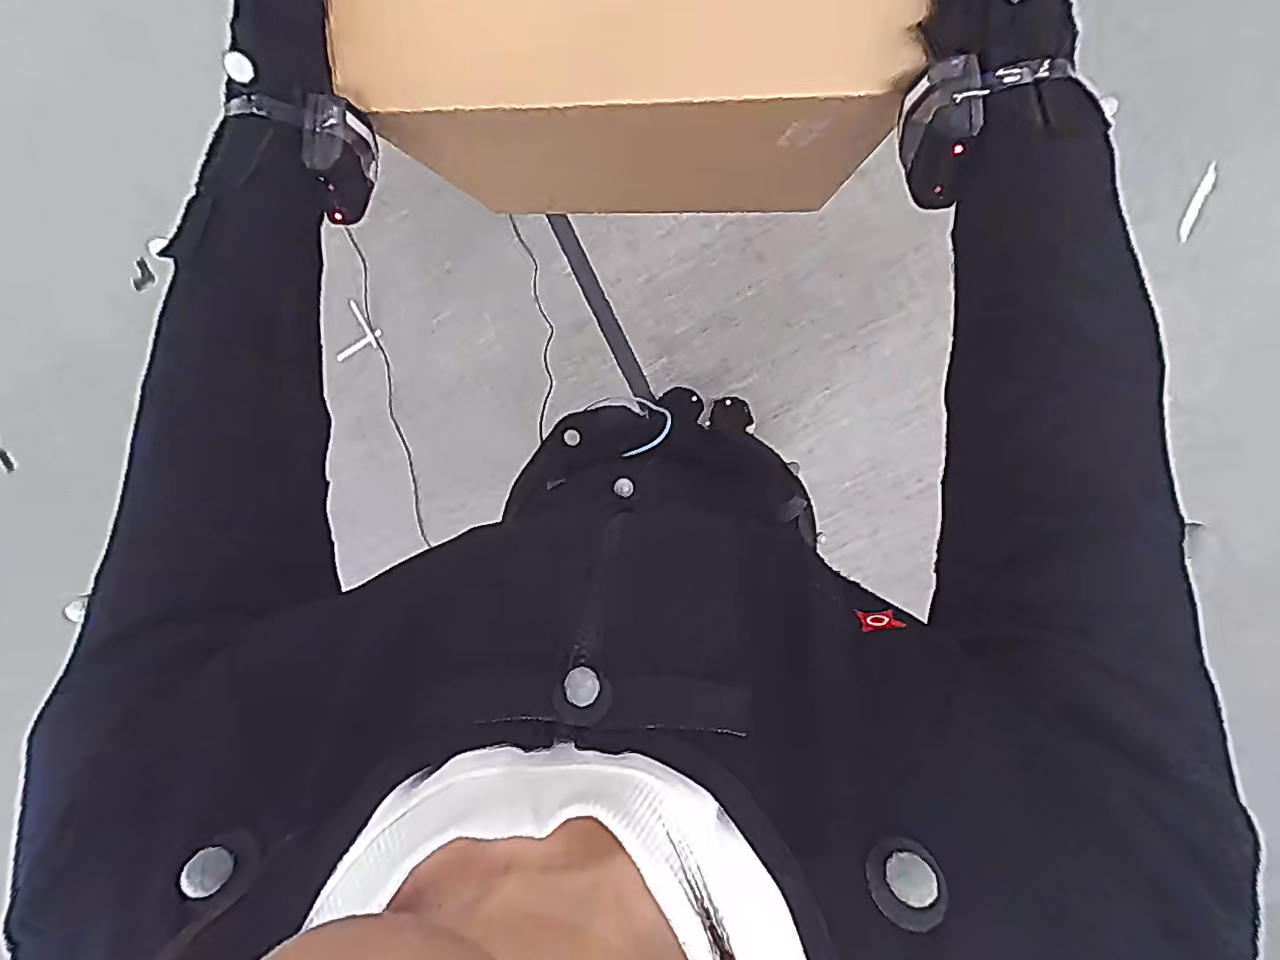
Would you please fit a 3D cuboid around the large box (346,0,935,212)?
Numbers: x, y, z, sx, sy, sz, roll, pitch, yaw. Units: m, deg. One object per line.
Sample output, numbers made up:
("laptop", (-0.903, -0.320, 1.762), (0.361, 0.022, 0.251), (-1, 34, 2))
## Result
("large box", (0.001, -0.451, 0.484), (0.408, 0.320, 0.320), (0, 105, 4))
